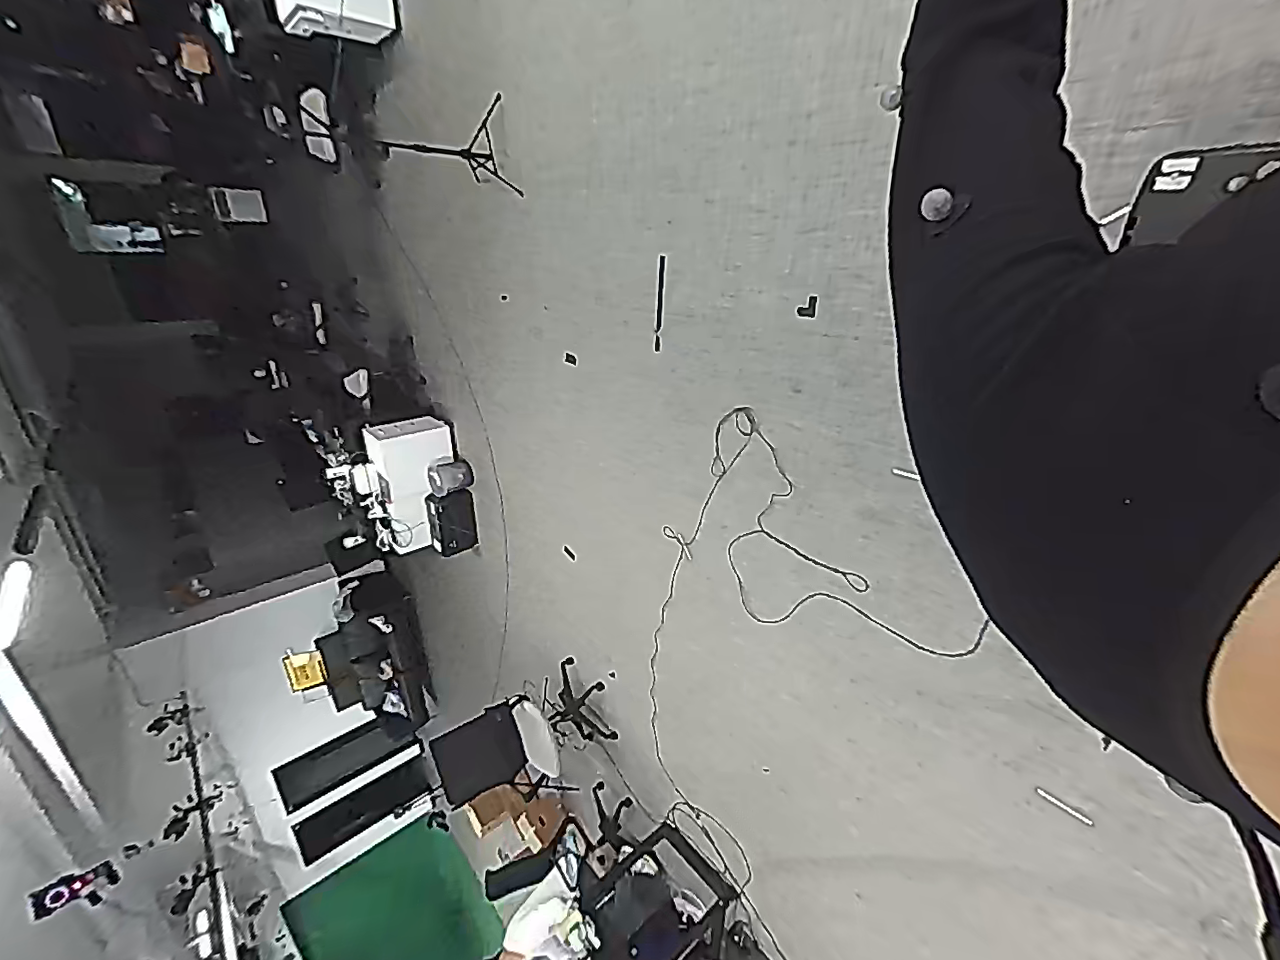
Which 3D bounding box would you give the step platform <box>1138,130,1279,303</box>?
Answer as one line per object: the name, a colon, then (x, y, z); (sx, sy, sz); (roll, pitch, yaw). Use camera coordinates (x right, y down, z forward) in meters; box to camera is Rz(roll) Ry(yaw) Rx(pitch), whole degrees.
step platform: (1.278, -0.432, 0.877); (0.684, 0.204, 0.286); (22, 122, 43)
